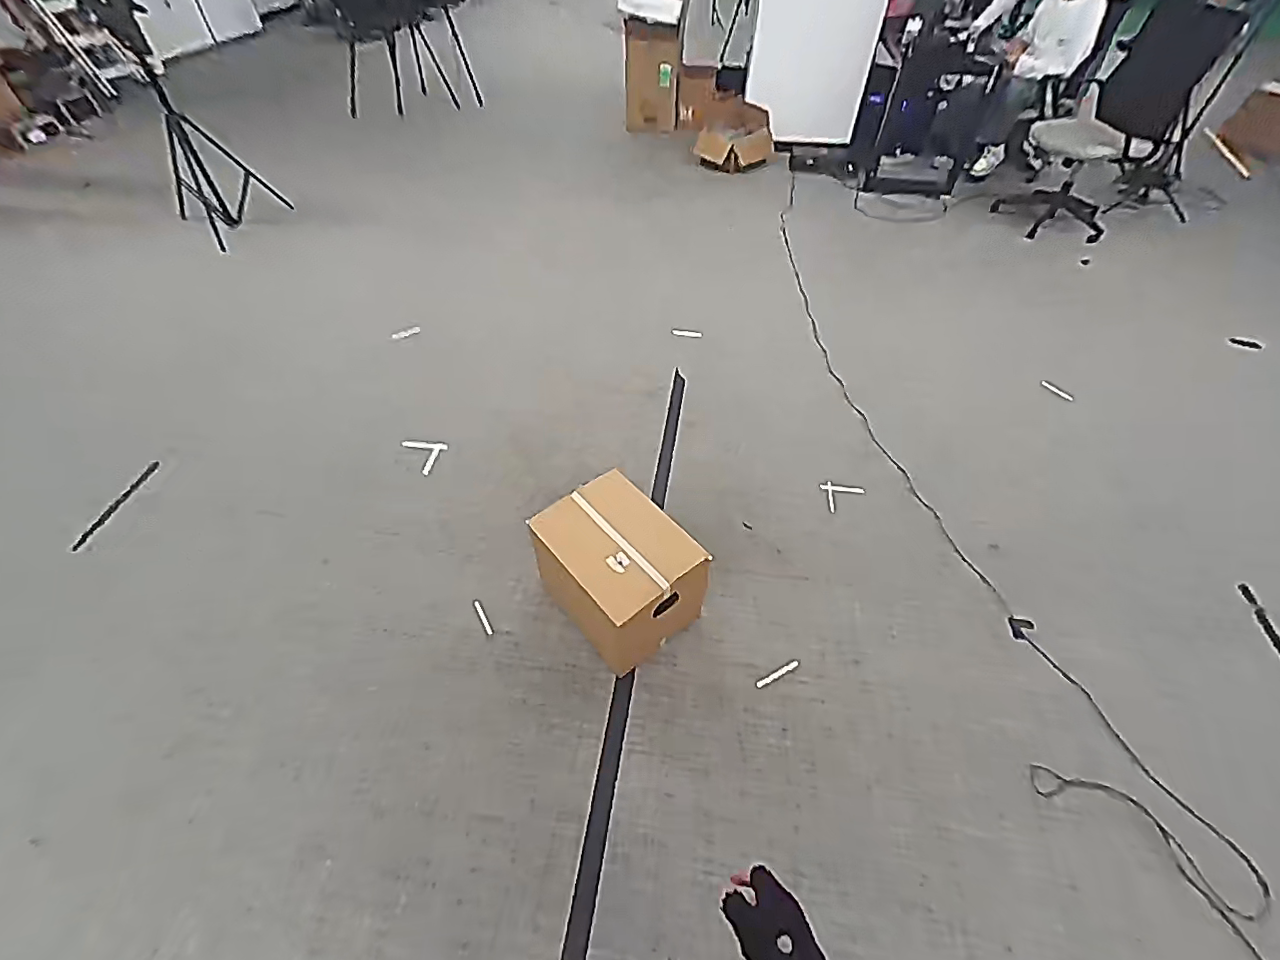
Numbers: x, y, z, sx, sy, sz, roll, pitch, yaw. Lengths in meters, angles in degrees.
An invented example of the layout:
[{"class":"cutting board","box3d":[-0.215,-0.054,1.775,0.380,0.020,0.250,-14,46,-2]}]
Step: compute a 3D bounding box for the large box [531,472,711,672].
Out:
[{"class":"large box","box3d":[-0.062,0.256,1.552,0.320,0.320,0.408,-32,57,-26]}]
